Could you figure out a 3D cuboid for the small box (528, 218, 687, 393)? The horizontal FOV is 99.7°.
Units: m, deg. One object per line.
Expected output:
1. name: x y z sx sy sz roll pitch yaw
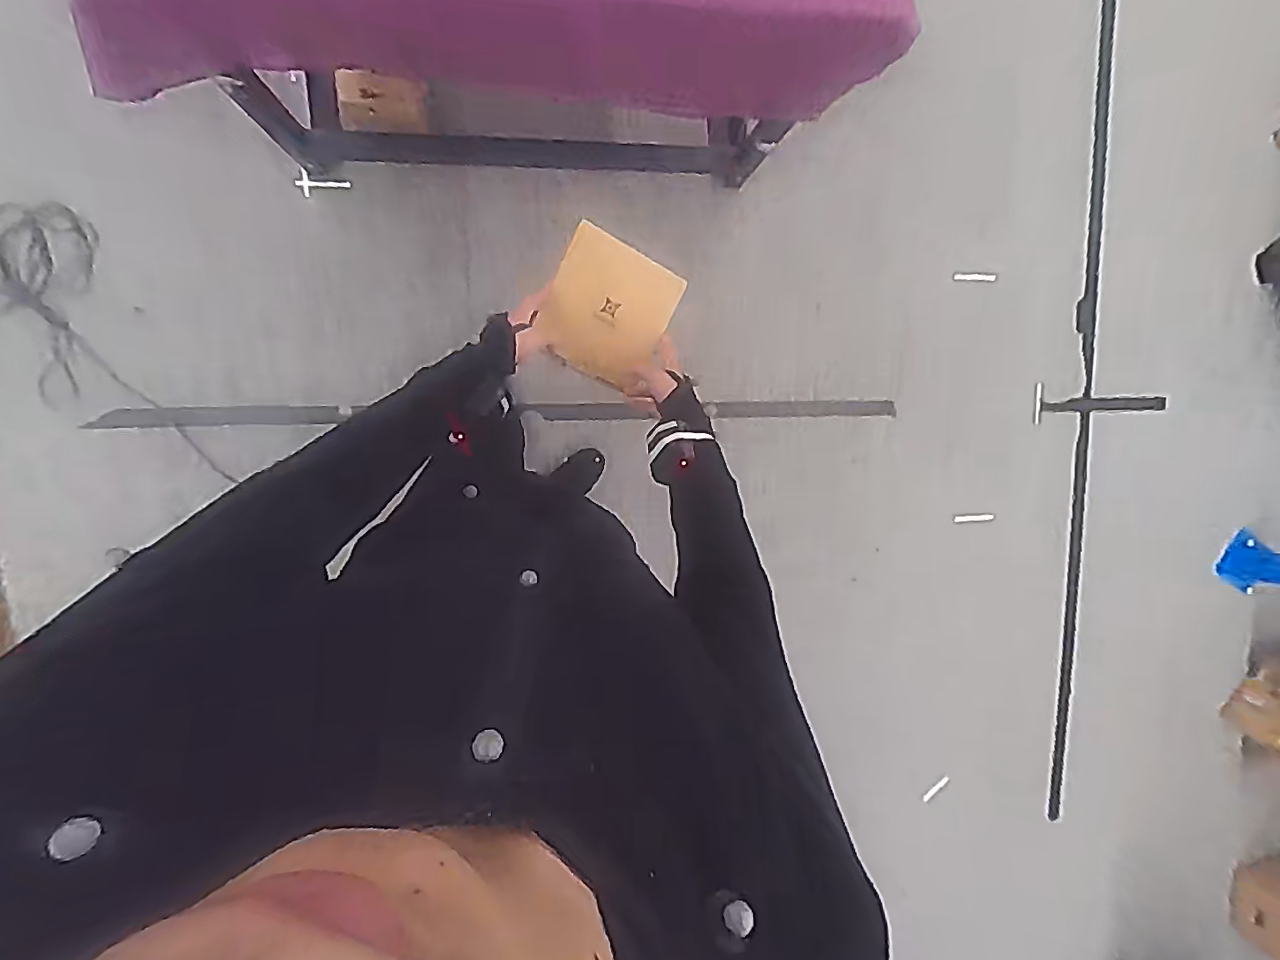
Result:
1. small box: -0.061 -0.248 0.802 0.168 0.176 0.179 25 97 -18
